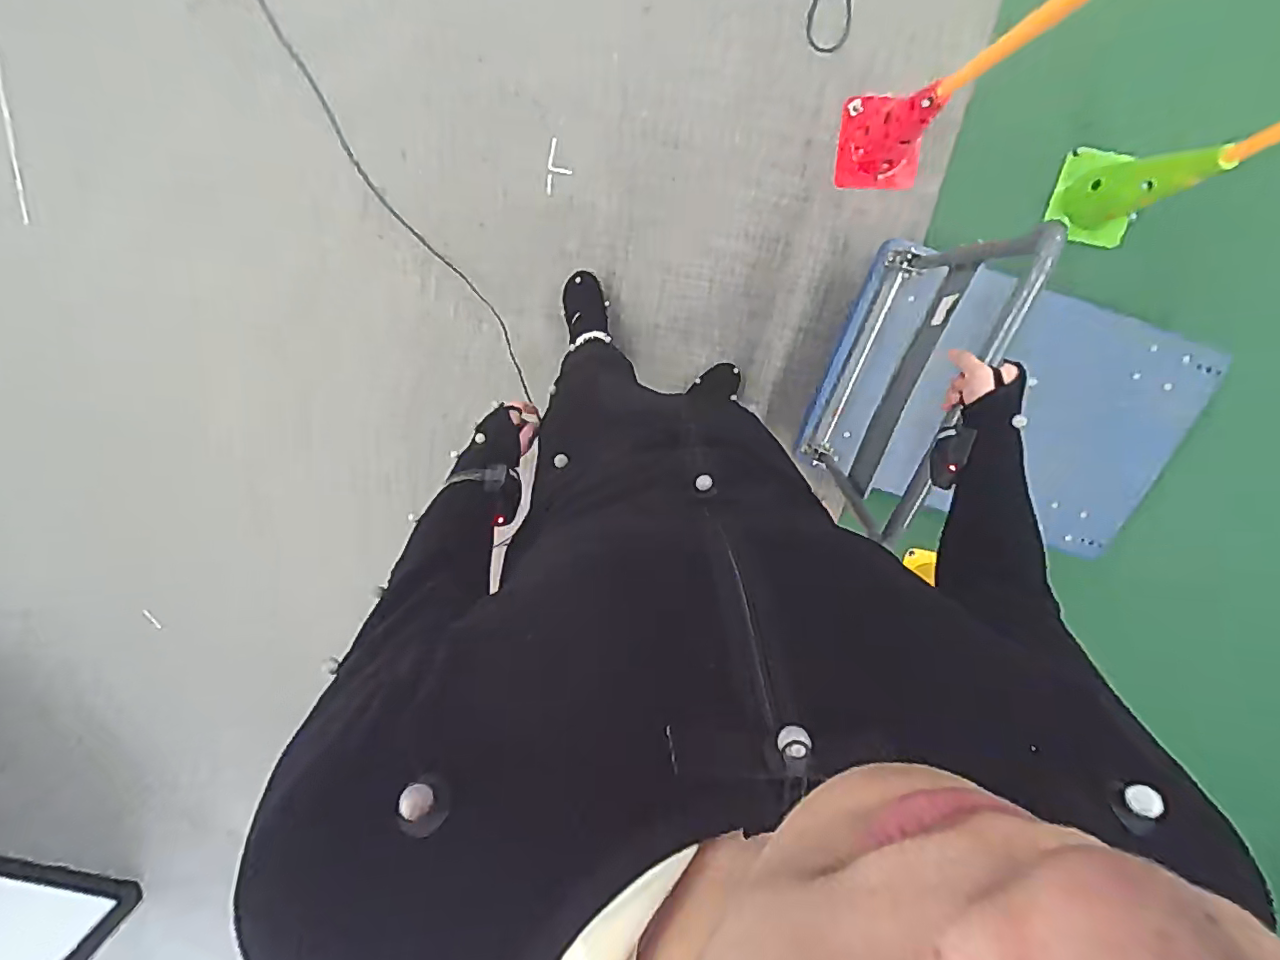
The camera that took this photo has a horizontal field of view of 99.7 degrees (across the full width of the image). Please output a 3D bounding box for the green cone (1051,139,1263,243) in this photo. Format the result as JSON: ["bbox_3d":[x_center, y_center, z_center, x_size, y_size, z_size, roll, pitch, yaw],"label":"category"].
[{"bbox_3d":[1.111,-0.643,1.145,0.202,0.368,0.200,11,108,0],"label":"green cone"}]
